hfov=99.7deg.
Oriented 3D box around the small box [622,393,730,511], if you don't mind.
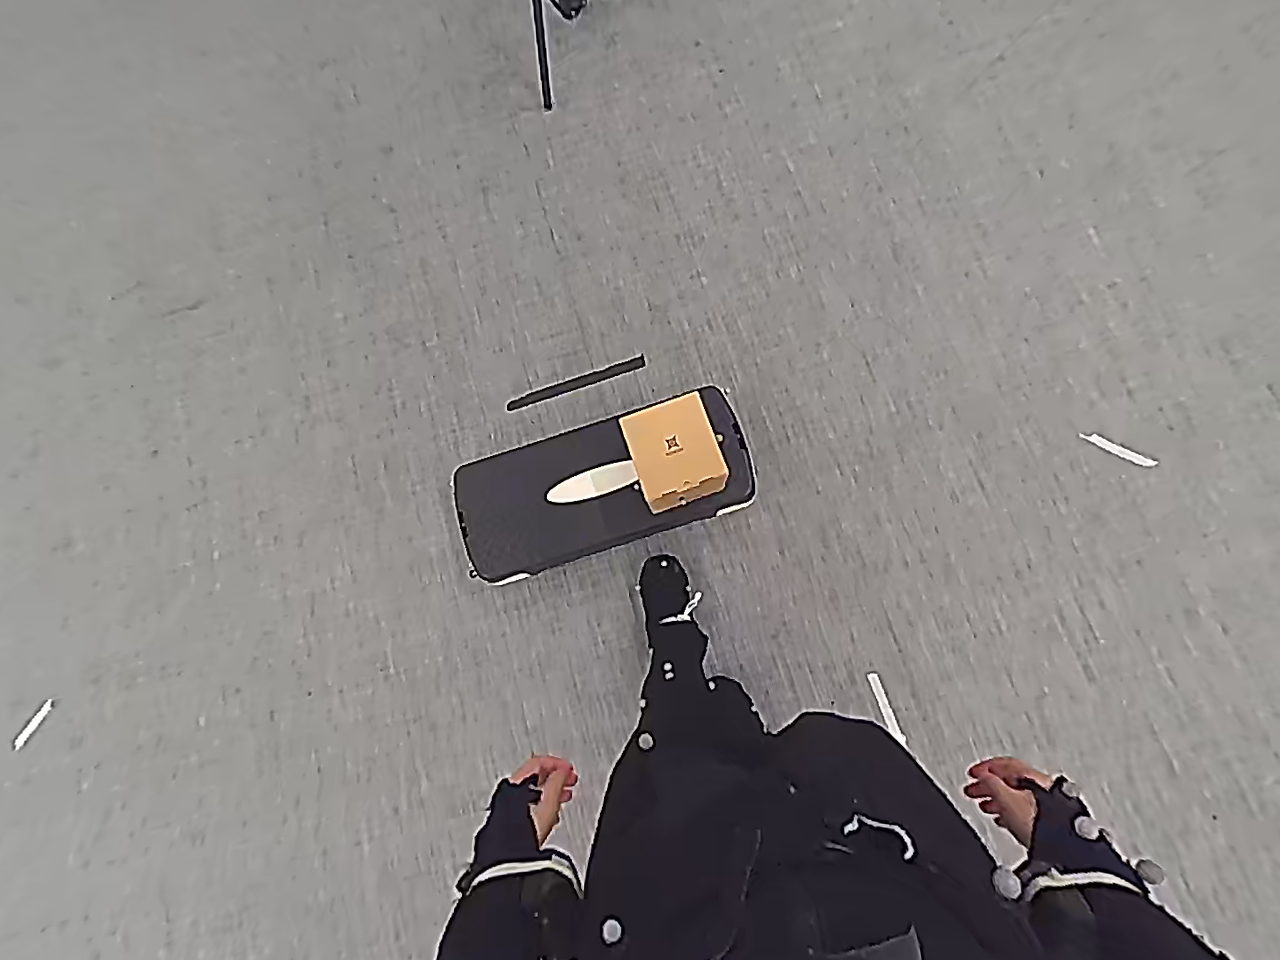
[{"bbox_3d":[0.071,-0.050,1.109,0.168,0.176,0.179,-19,79,1],"label":"small box"}]
